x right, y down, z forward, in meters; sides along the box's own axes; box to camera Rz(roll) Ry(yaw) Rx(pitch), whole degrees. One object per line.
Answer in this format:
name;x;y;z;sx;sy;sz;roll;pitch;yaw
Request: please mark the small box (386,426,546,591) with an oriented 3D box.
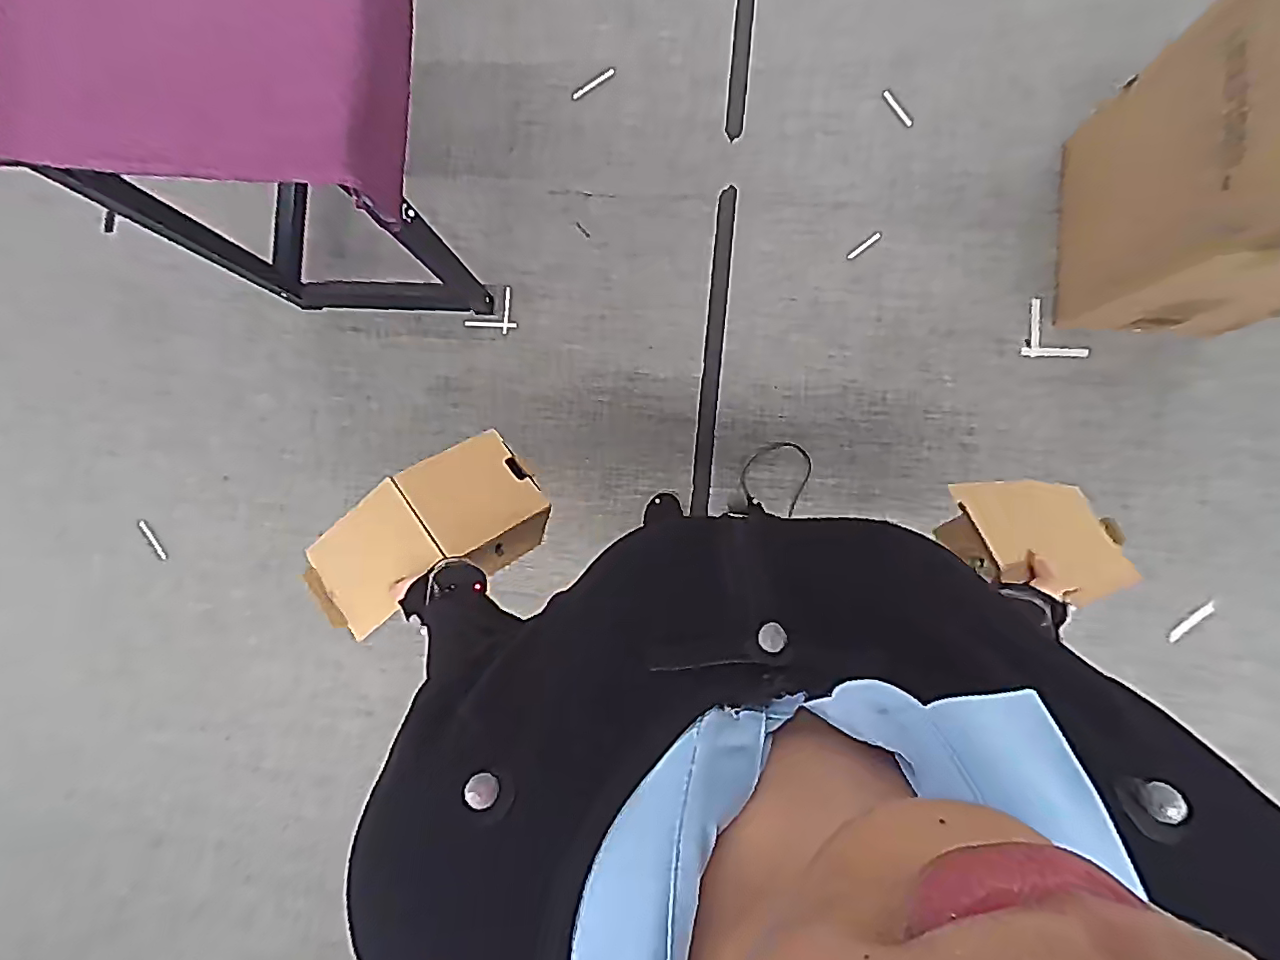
small box;-0.272;0.051;0.862;0.179;0.176;0.168;-33;77;-29
